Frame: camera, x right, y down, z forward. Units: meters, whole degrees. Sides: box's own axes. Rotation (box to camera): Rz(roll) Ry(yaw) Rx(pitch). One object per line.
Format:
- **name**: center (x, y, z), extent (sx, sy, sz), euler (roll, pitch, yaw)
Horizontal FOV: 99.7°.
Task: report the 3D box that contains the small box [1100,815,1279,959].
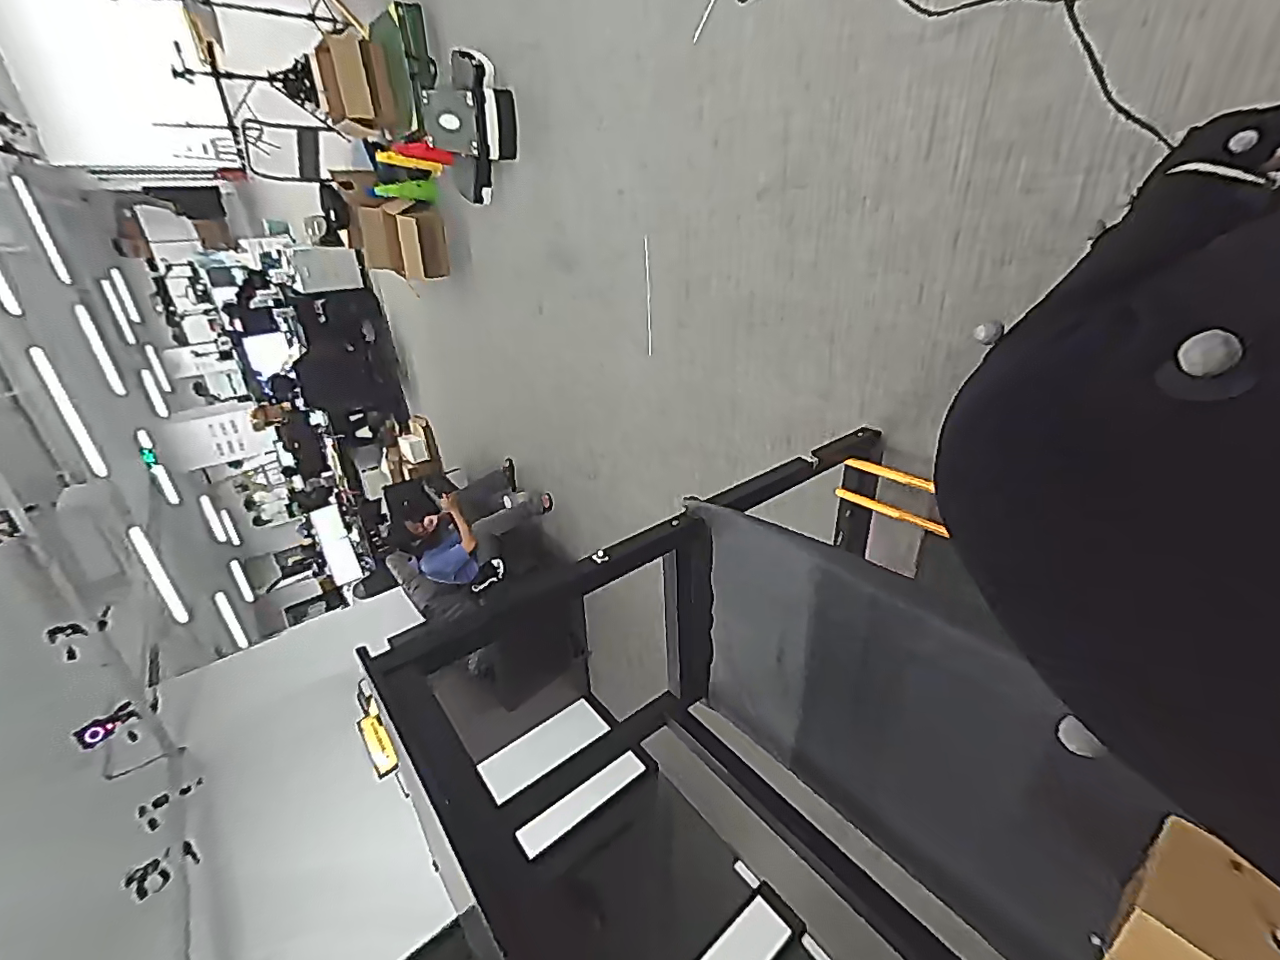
- **small box**: center (0.668, 0.538, 0.618), extent (0.168, 0.176, 0.179), euler (26, 129, 46)
